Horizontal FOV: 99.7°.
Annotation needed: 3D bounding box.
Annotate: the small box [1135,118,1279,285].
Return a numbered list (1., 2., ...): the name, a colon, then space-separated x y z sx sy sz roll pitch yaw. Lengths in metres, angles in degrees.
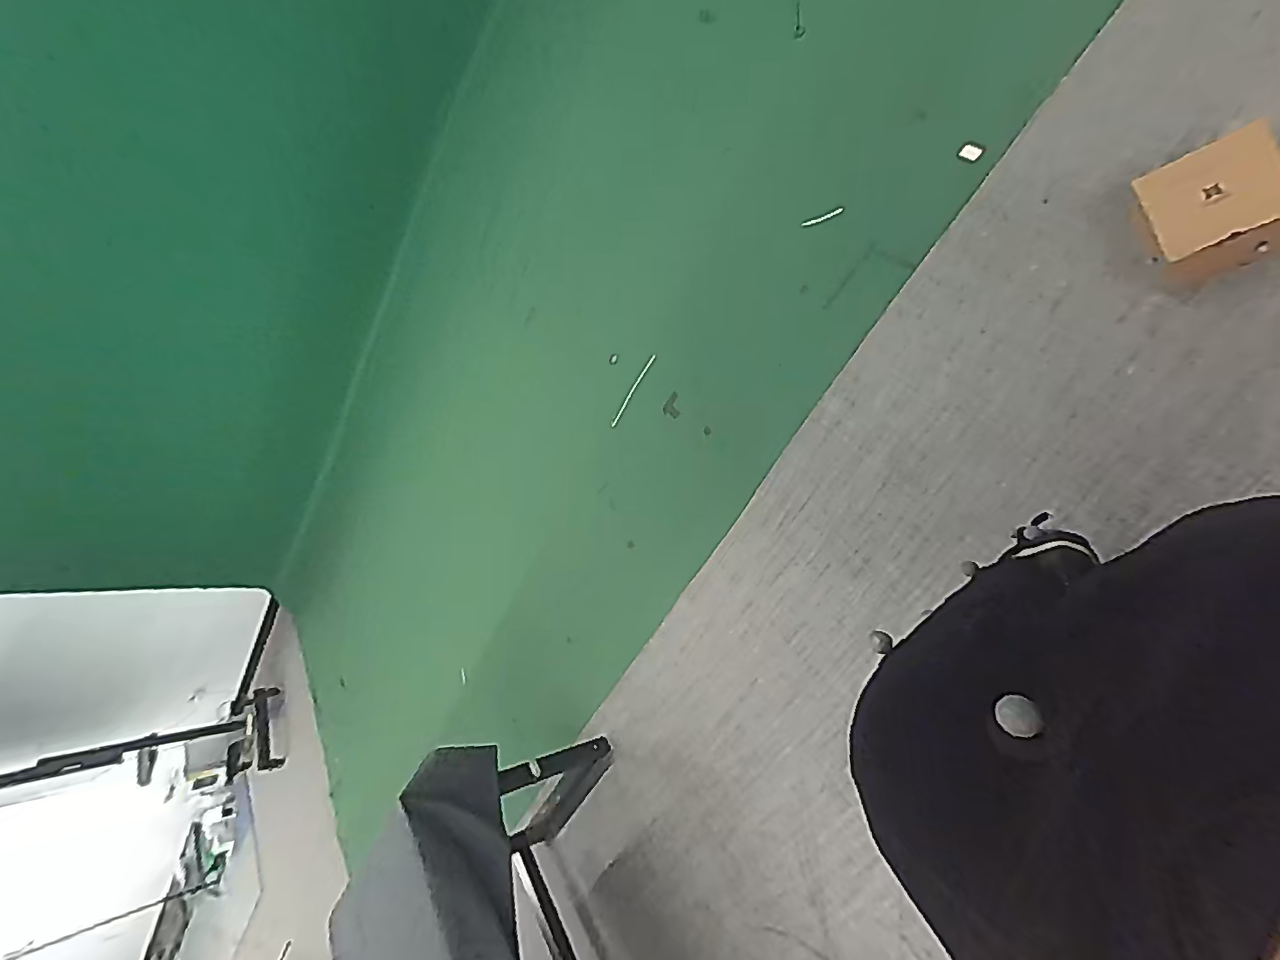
1. small box: 1.011 -0.470 0.952 0.168 0.176 0.179 -22 69 38
